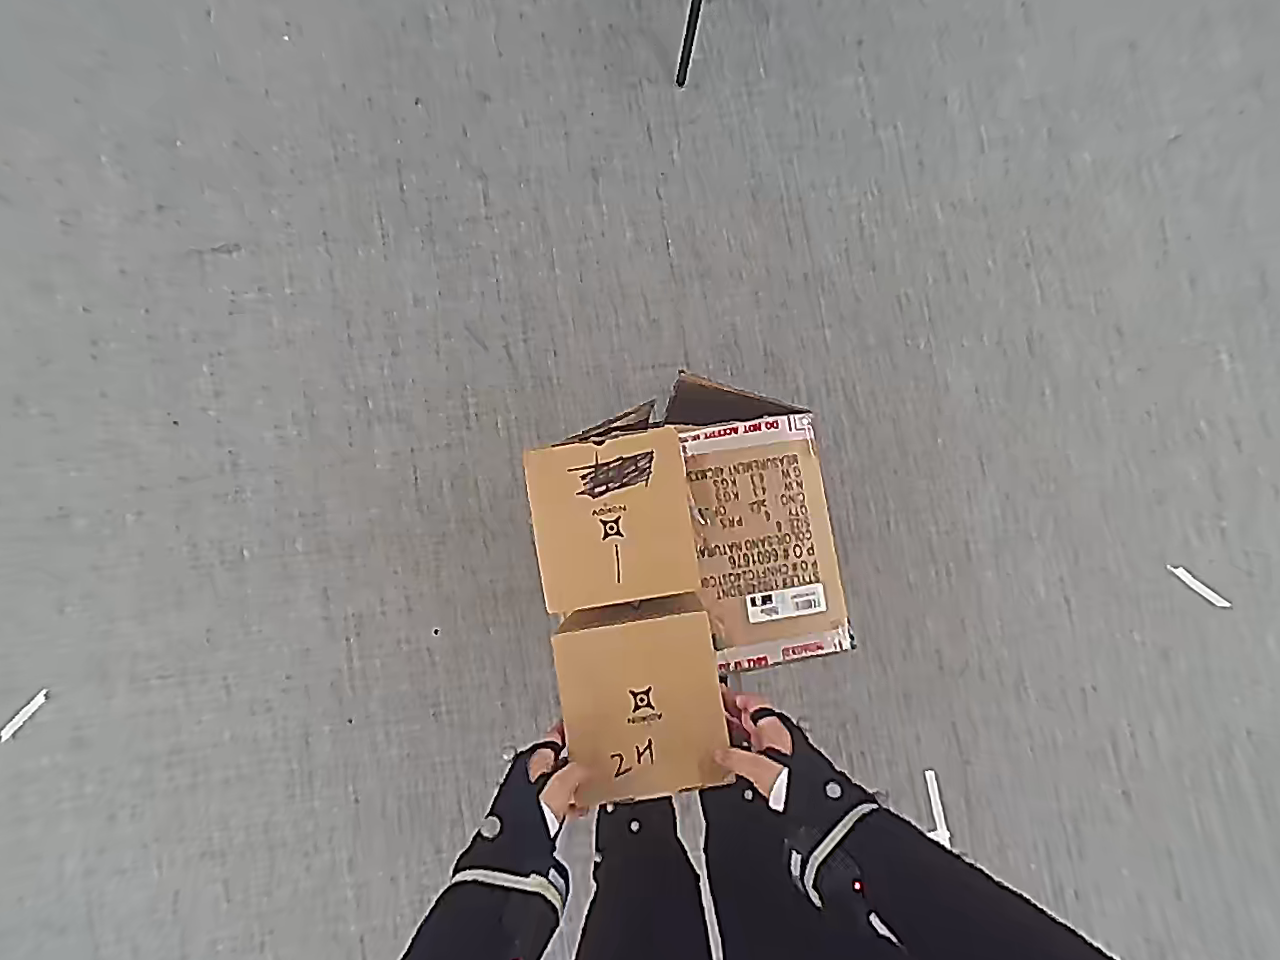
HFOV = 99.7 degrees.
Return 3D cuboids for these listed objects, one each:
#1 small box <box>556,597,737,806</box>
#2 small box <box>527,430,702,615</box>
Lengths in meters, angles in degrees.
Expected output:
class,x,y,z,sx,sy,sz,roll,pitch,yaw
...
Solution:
class,x,y,z,sx,sy,sz,roll,pitch,yaw
small box,0.006,0.238,0.630,0.168,0.176,0.179,-10,85,1
small box,-0.028,0.047,0.645,0.168,0.176,0.179,-9,89,0
